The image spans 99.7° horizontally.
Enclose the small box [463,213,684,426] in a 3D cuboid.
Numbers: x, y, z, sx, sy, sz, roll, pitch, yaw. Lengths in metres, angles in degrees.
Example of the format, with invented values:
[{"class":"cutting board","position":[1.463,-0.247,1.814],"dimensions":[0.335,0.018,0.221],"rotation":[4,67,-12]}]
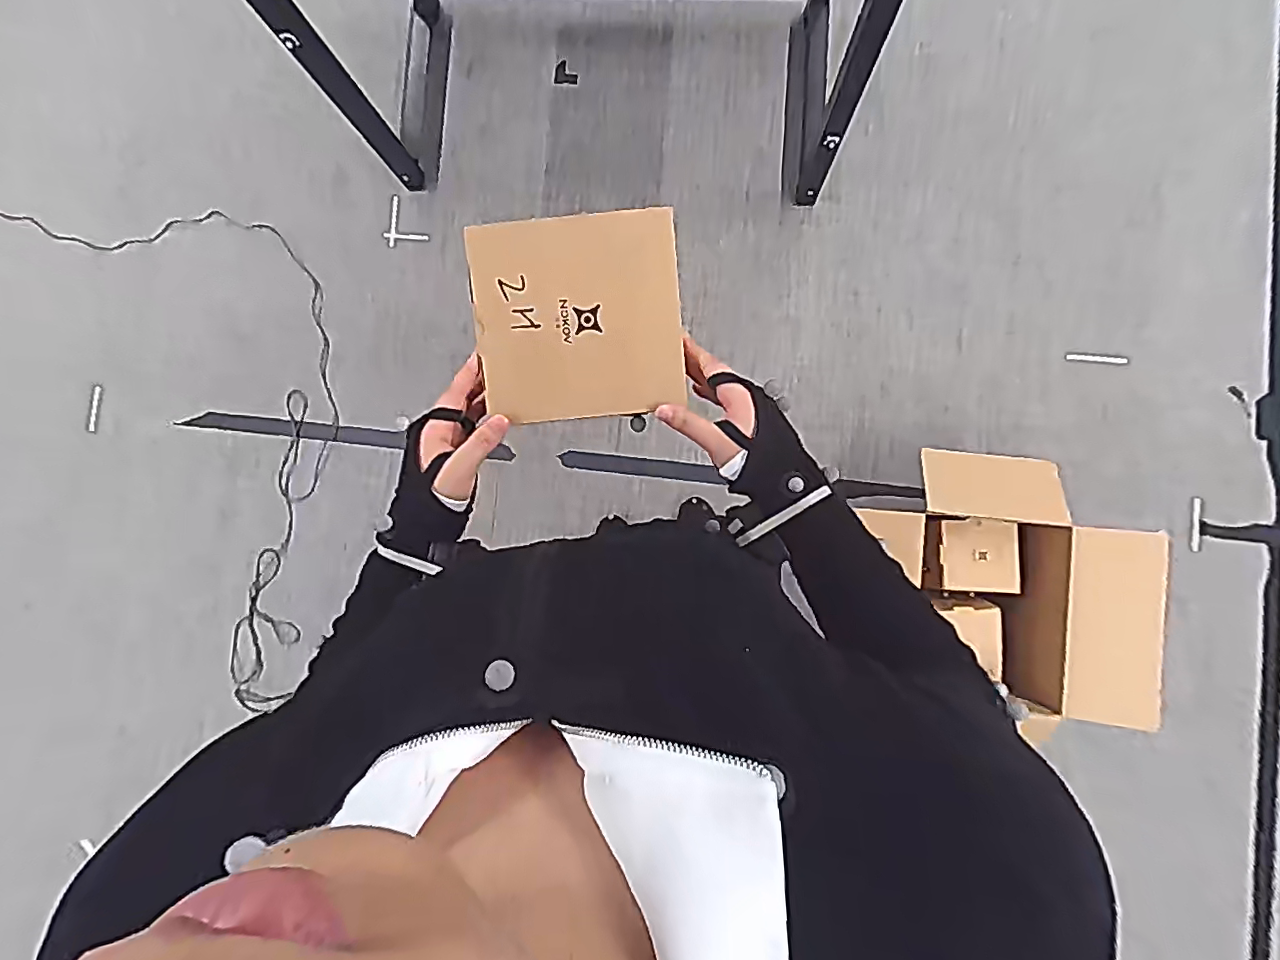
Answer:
[{"class":"small box","position":[-0.055,-0.146,0.538],"dimensions":[0.179,0.176,0.168],"rotation":[-5,98,1]}]
